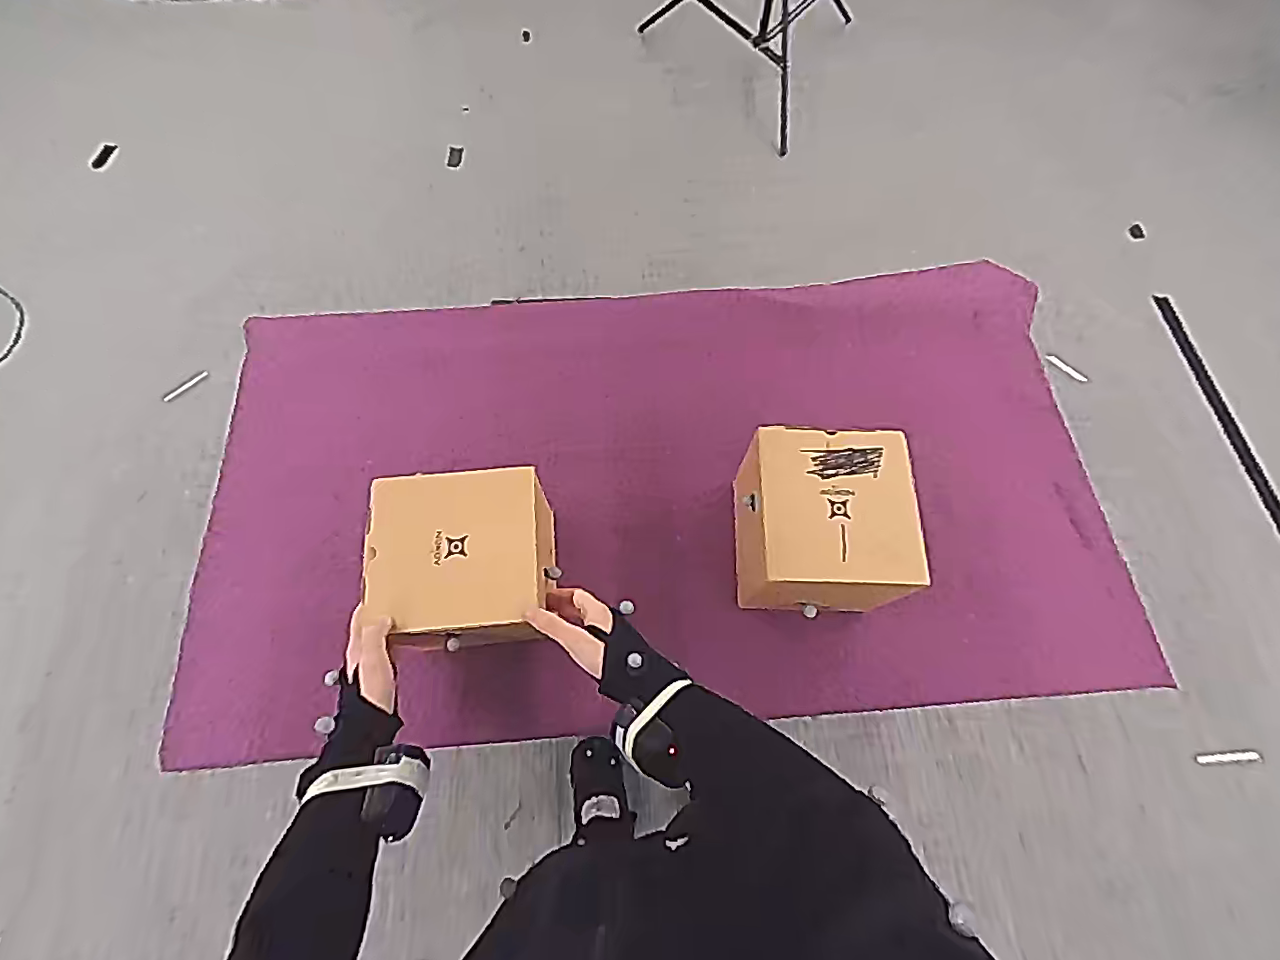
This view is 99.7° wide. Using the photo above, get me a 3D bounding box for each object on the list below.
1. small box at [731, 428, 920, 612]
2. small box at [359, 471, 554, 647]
[{"bbox_3d":[0.204,0.055,0.651,0.168,0.176,0.179,2,68,1],"label":"small box"},{"bbox_3d":[-0.196,0.100,0.631,0.179,0.176,0.168,-5,69,-2],"label":"small box"}]
